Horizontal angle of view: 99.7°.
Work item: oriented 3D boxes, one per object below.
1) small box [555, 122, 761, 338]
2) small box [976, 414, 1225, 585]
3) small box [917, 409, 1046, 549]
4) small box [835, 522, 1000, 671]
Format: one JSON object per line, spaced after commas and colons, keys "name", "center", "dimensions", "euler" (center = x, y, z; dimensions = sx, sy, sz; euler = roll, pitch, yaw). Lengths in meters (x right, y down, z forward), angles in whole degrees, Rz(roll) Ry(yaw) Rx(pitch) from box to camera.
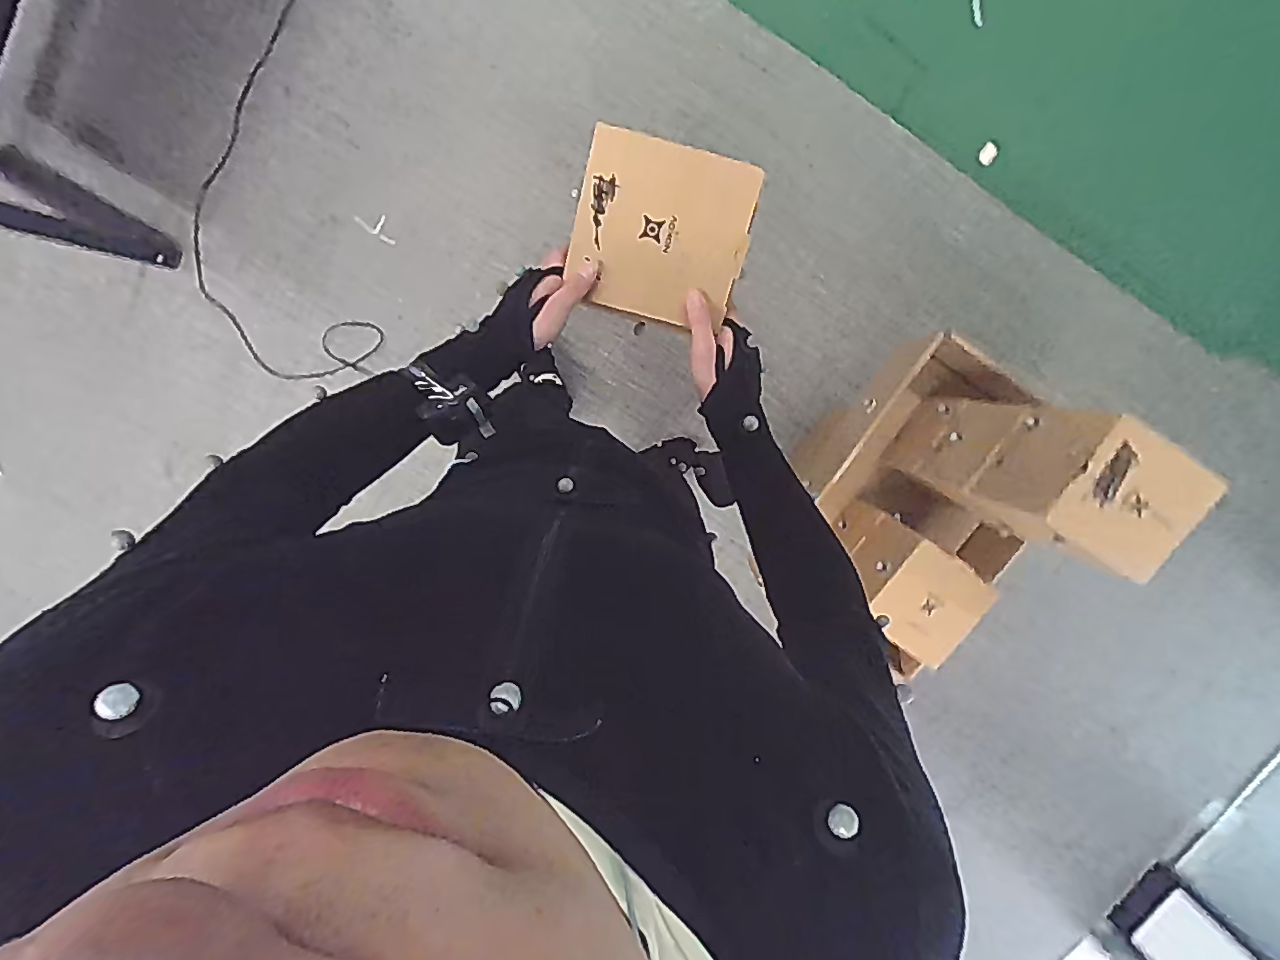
{"name": "small box", "center": [0.015, -0.265, 0.617], "dimensions": [0.179, 0.176, 0.168], "euler": [14, 102, -3]}
{"name": "small box", "center": [0.639, 0.017, 0.779], "dimensions": [0.179, 0.176, 0.168], "euler": [32, 100, -6]}
{"name": "small box", "center": [0.634, -0.013, 0.941], "dimensions": [0.179, 0.176, 0.168], "euler": [33, 99, -5]}
{"name": "small box", "center": [0.488, 0.200, 0.984], "dimensions": [0.168, 0.176, 0.179], "euler": [35, 100, -4]}
